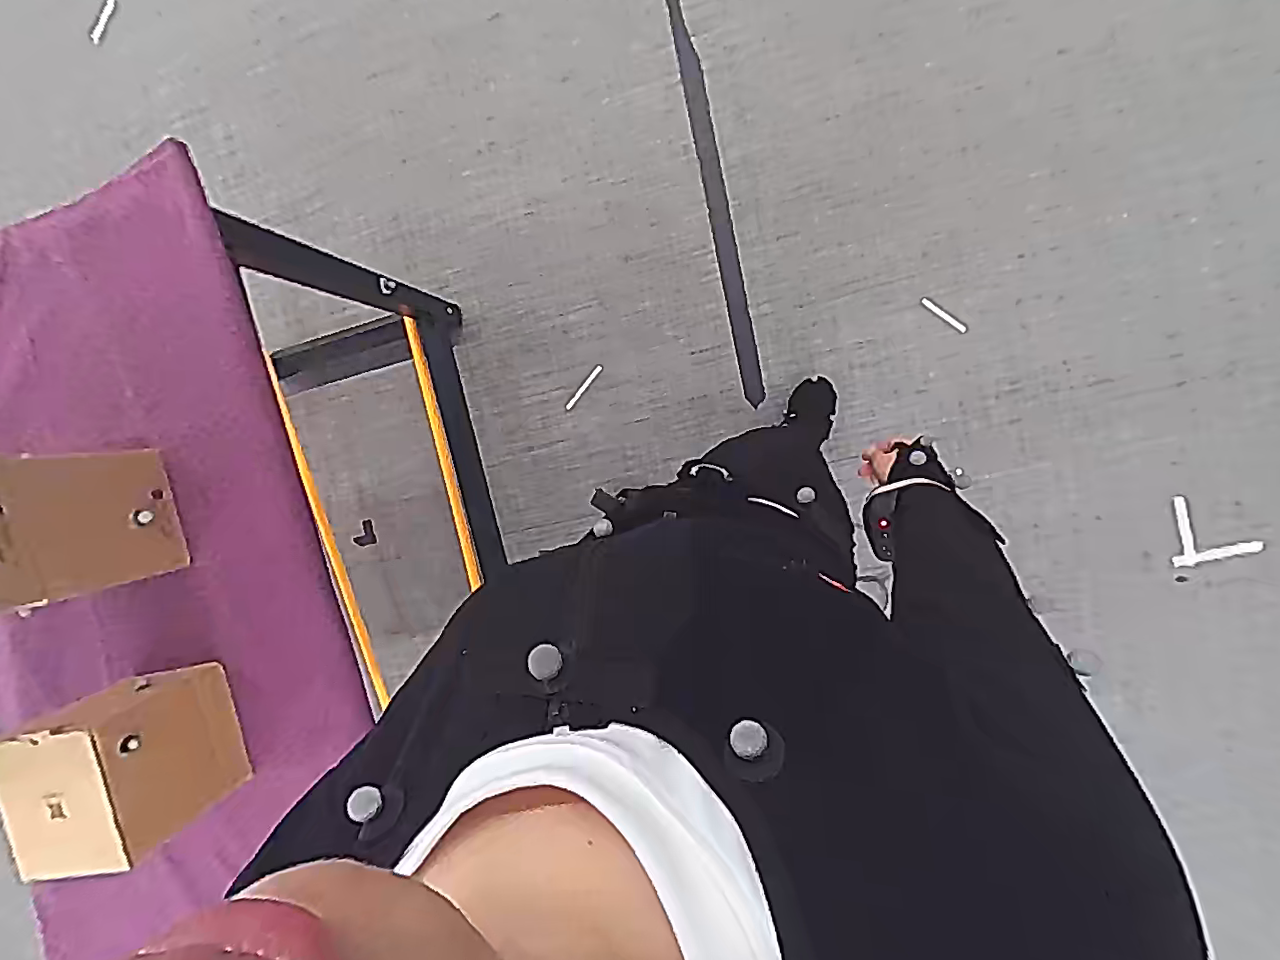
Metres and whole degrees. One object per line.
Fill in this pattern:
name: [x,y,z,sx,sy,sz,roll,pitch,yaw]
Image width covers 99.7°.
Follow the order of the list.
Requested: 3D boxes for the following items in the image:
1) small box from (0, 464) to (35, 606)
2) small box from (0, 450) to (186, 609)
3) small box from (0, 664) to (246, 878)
small box: [-0.757,0.072,0.512,0.179,0.176,0.168,-11,95,9]
small box: [-0.732,0.059,0.675,0.179,0.176,0.168,-11,95,9]
small box: [-0.658,0.364,0.698,0.168,0.176,0.179,-12,94,10]
